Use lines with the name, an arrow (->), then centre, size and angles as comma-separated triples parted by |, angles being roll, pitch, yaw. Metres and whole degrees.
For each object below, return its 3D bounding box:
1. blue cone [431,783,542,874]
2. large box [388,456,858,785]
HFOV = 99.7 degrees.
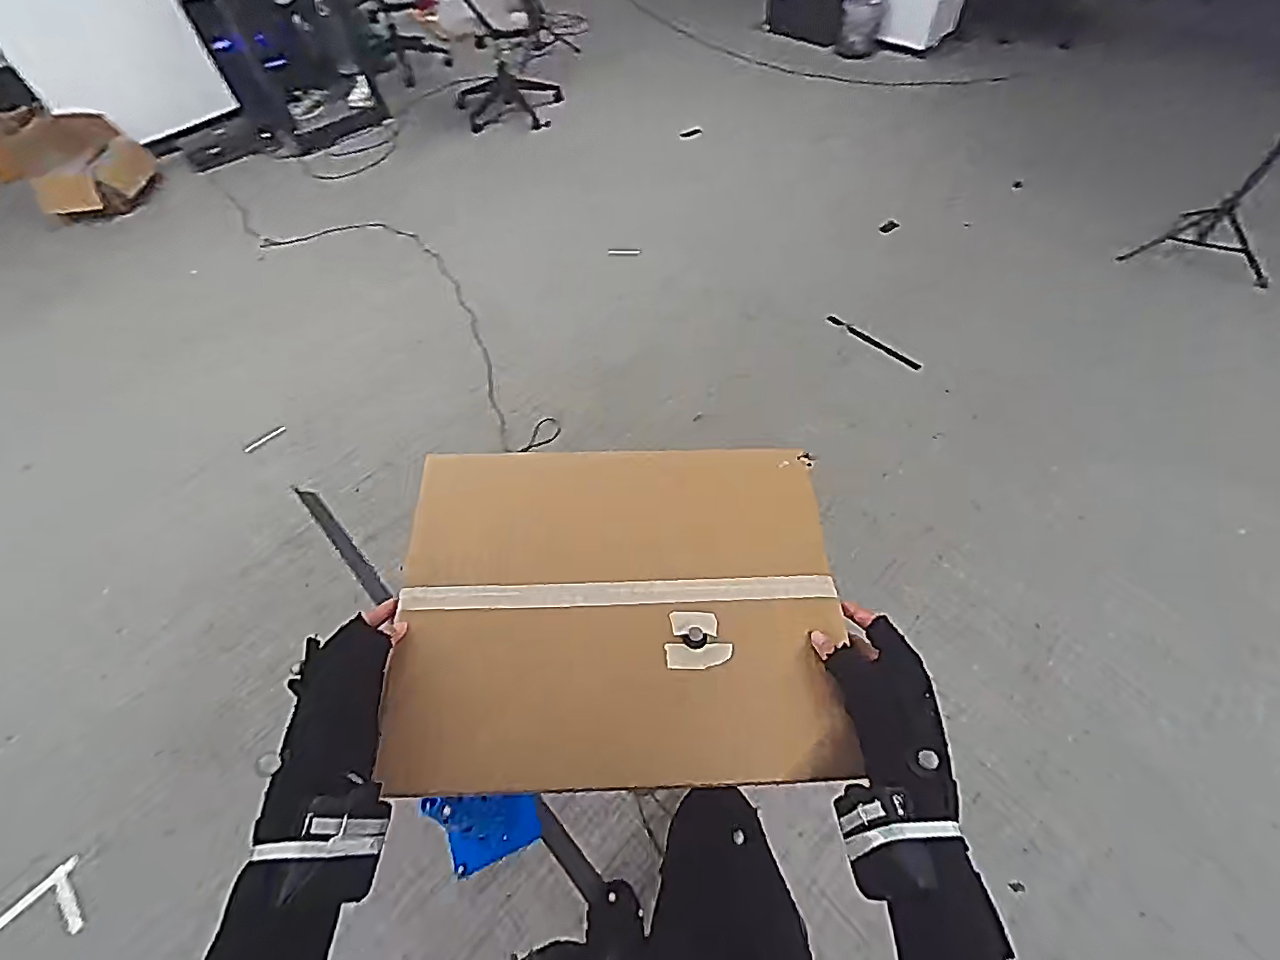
blue cone -> -0.349, 0.685, 1.124 | 0.193, 0.380, 0.192 | -21, 58, -9
large box -> -0.020, 0.182, 0.651 | 0.408, 0.320, 0.320 | 0, 61, -2
